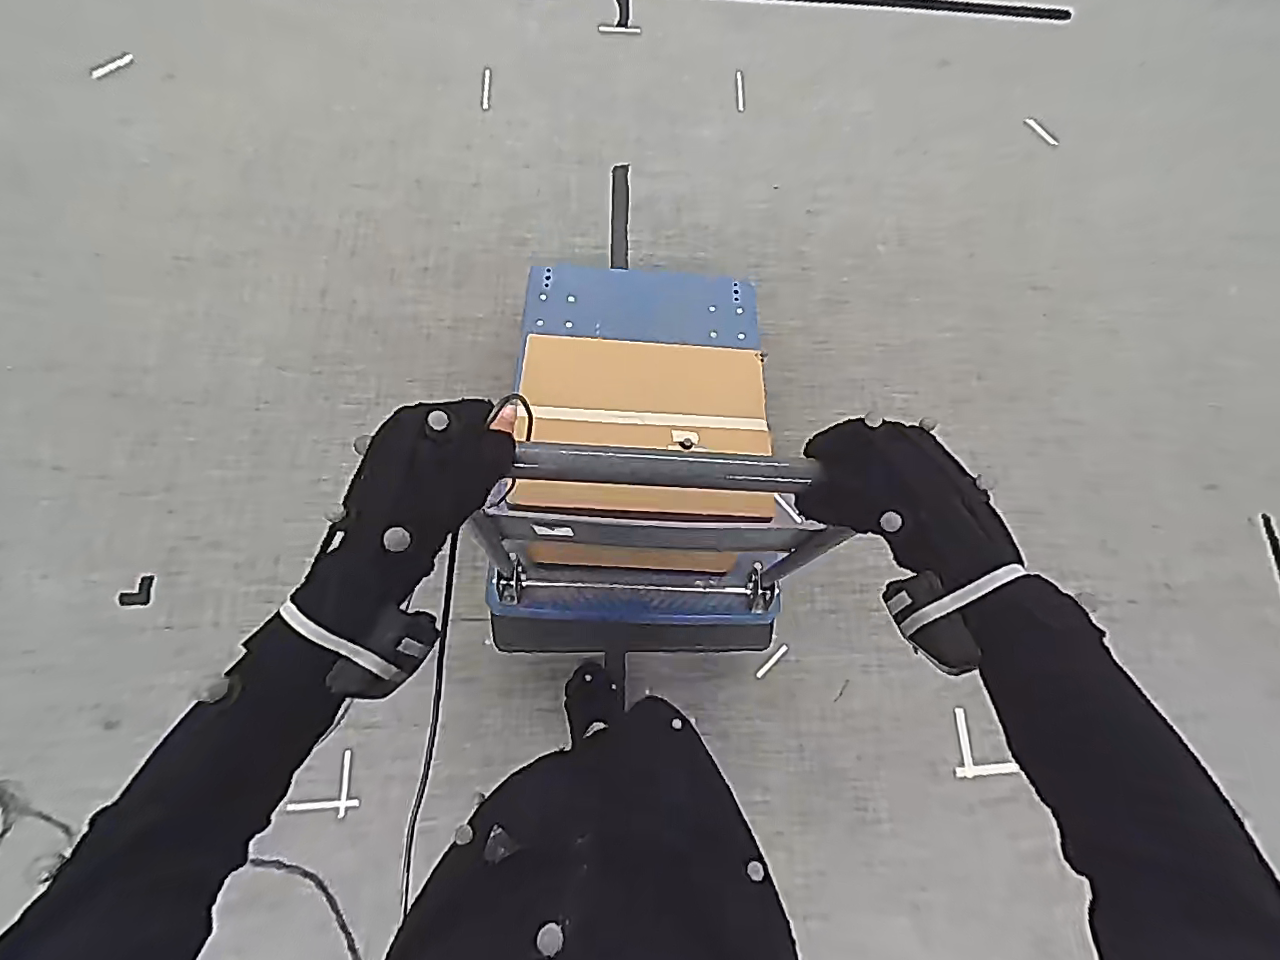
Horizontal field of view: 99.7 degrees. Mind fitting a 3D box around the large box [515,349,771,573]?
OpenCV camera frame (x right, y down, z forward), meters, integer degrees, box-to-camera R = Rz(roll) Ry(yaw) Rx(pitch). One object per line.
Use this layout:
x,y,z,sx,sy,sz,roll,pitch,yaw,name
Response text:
-0.006,-0.017,1.019,0.408,0.320,0.320,4,65,-5,large box
